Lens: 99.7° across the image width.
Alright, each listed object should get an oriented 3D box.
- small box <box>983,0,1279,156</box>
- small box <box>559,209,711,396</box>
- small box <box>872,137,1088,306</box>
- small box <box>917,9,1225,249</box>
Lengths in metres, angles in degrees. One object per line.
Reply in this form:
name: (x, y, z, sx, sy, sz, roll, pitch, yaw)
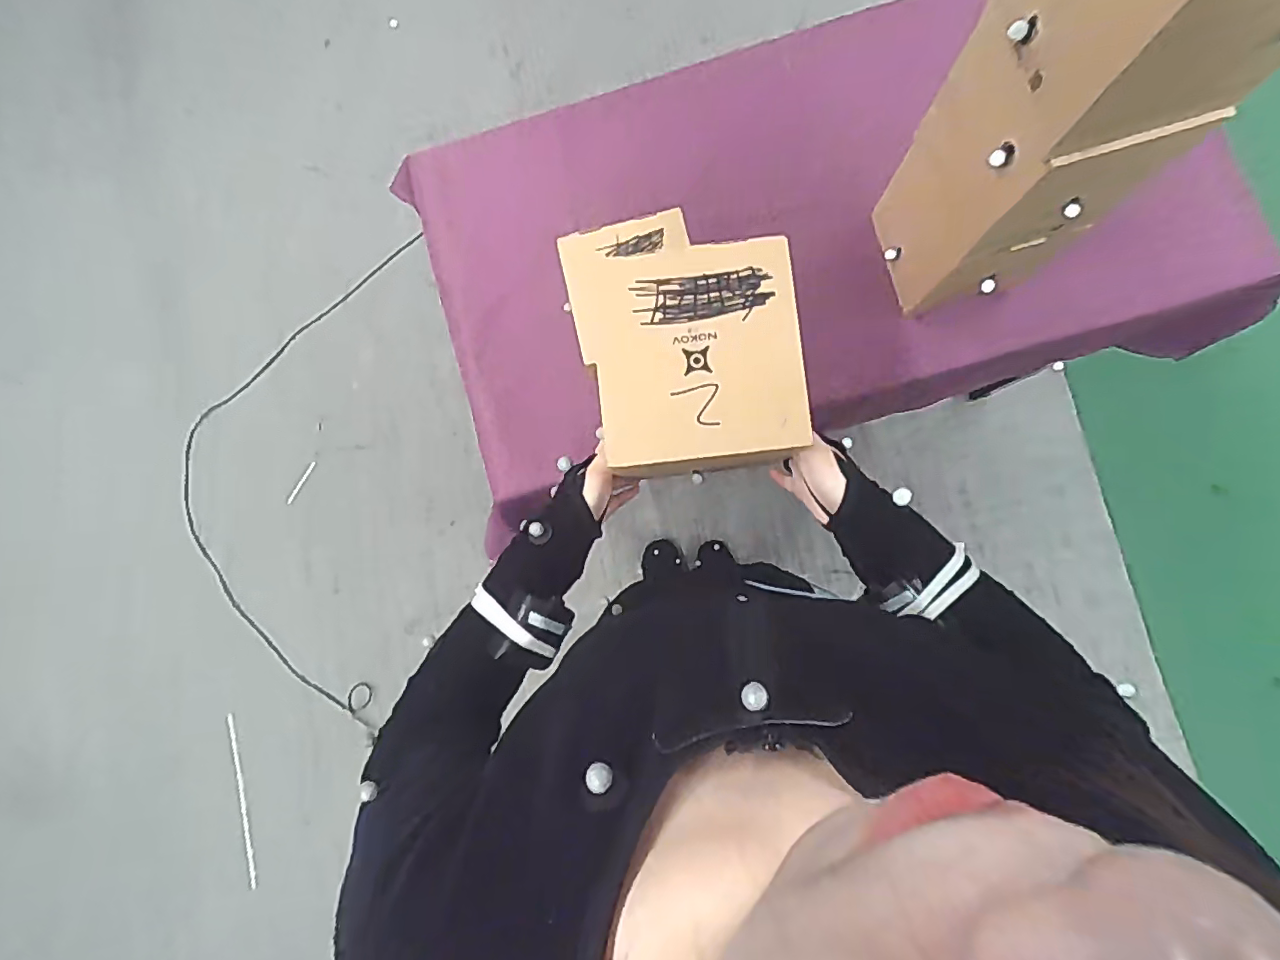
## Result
small box: (0.414, -0.395, 0.415, 0.179, 0.176, 0.168, -15, 82, 3)
small box: (-0.005, -0.236, 0.758, 0.168, 0.176, 0.179, -13, 84, 2)
small box: (0.446, -0.357, 0.741, 0.168, 0.176, 0.179, -15, 84, 2)
small box: (0.431, -0.374, 0.577, 0.168, 0.176, 0.179, -15, 83, 2)
